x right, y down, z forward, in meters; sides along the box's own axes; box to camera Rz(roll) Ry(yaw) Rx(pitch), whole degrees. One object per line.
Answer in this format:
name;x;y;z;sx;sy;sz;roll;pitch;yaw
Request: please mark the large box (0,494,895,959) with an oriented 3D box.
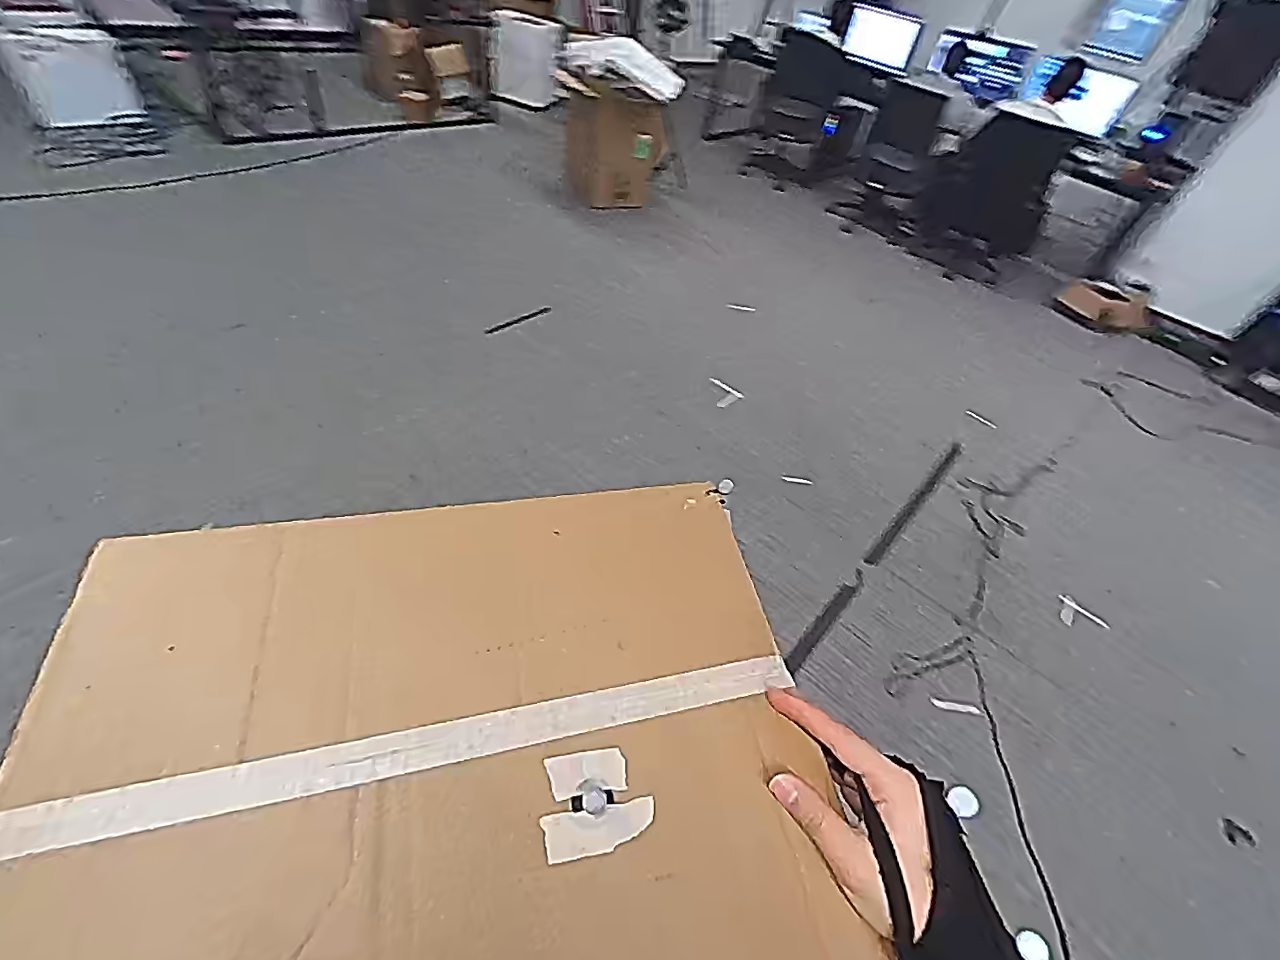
large box;-0.116;0.238;0.423;0.408;0.320;0.320;-4;55;-16
